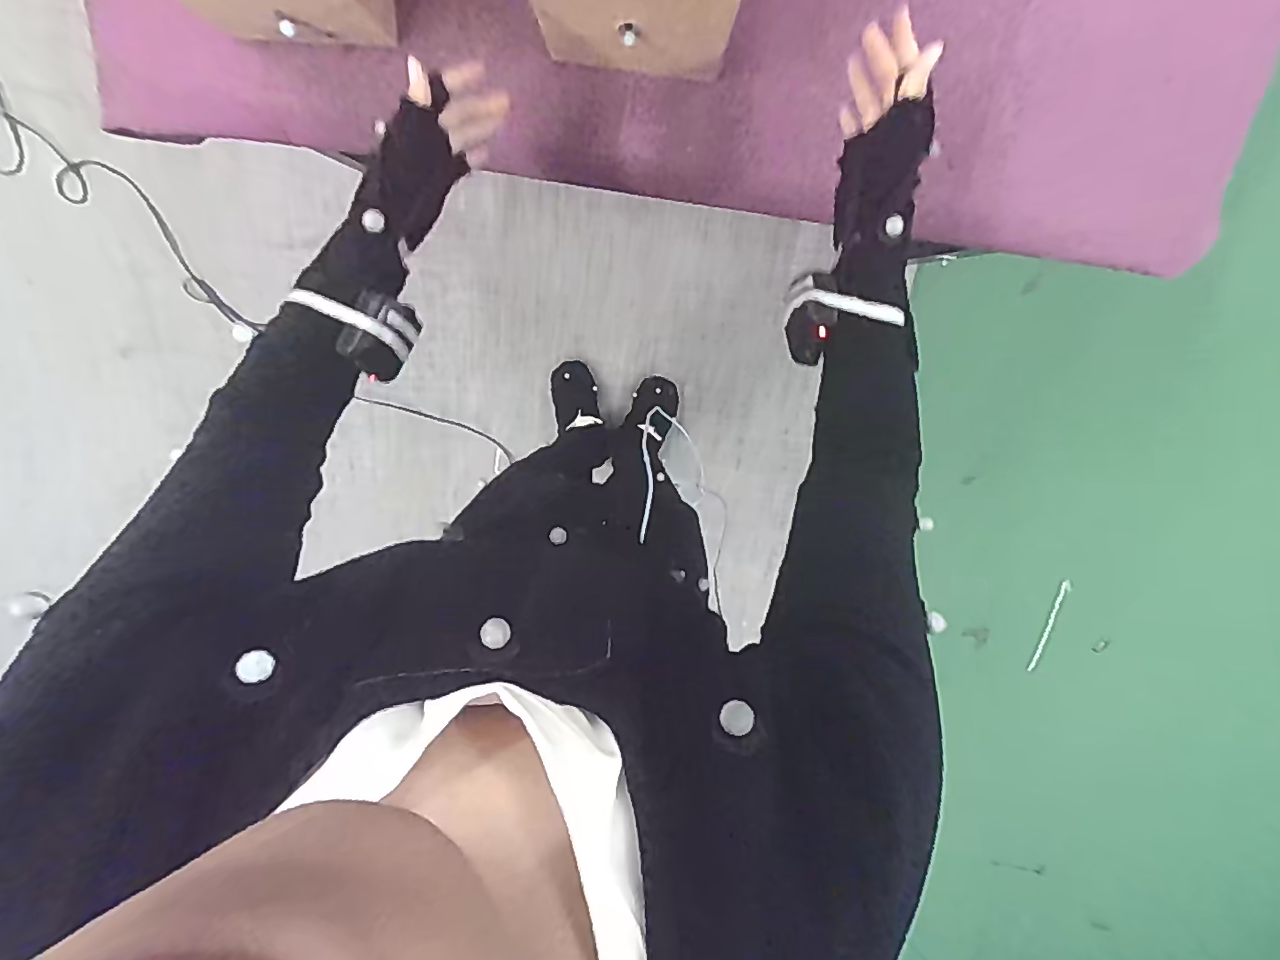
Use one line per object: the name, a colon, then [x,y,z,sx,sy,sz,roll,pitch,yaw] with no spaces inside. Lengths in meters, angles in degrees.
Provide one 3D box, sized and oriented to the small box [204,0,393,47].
small box: [-0.330,-0.517,0.461,0.168,0.176,0.179,2,108,-2]
